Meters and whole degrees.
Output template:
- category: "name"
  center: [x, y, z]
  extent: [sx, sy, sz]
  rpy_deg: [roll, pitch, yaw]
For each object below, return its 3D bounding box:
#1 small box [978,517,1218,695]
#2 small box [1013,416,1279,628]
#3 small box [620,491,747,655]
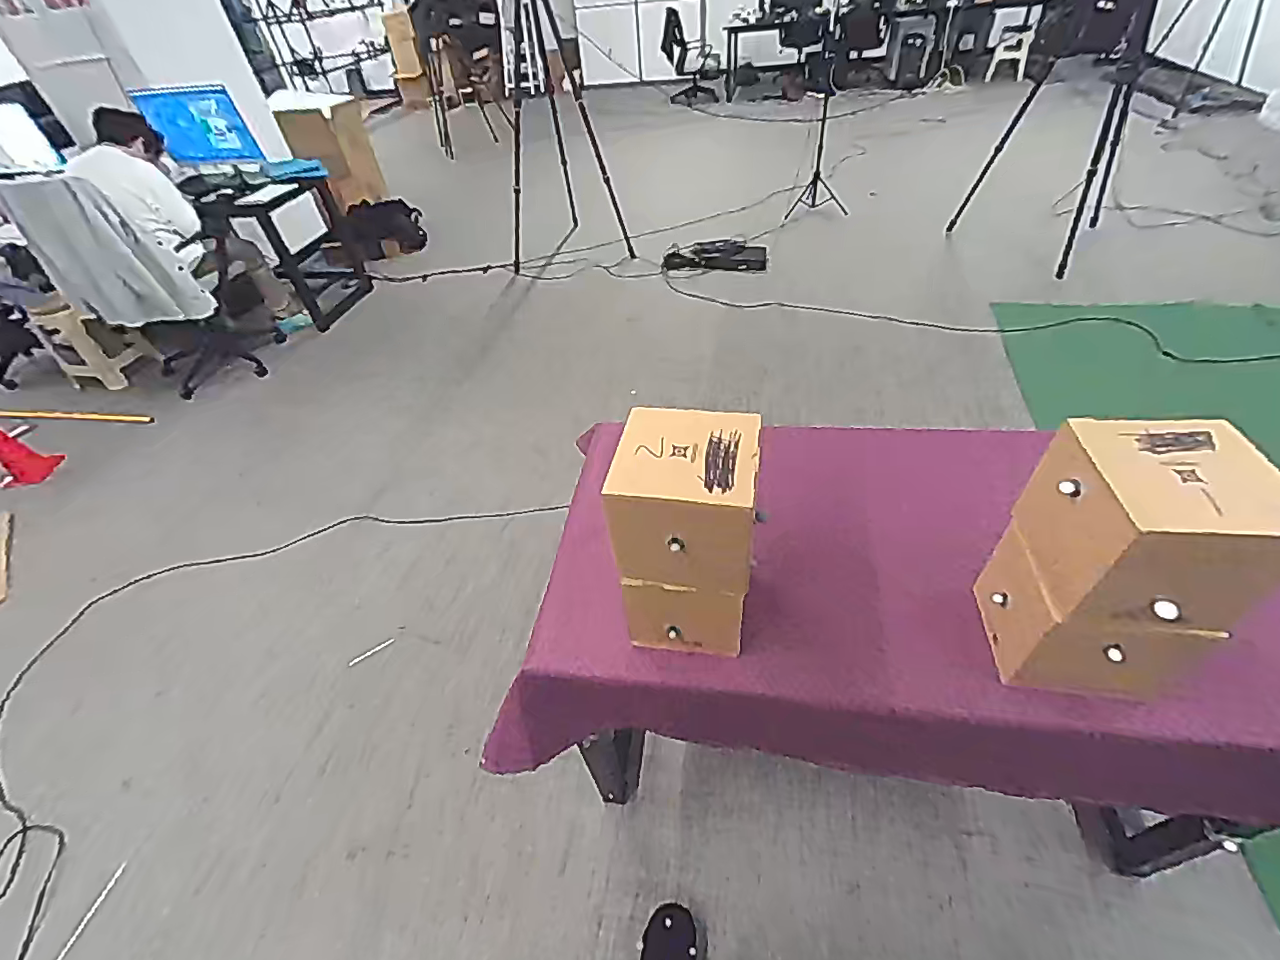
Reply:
- category: "small box"
  center: [0.583, 0.169, 0.727]
  extent: [0.179, 0.176, 0.168]
  rpy_deg: [3, 45, 11]
- category: "small box"
  center: [0.568, 0.046, 0.619]
  extent: [0.168, 0.176, 0.179]
  rpy_deg: [1, 45, 10]
- category: "small box"
  center: [0.072, 0.141, 0.830]
  extent: [0.168, 0.176, 0.179]
  rpy_deg: [3, 45, 11]
